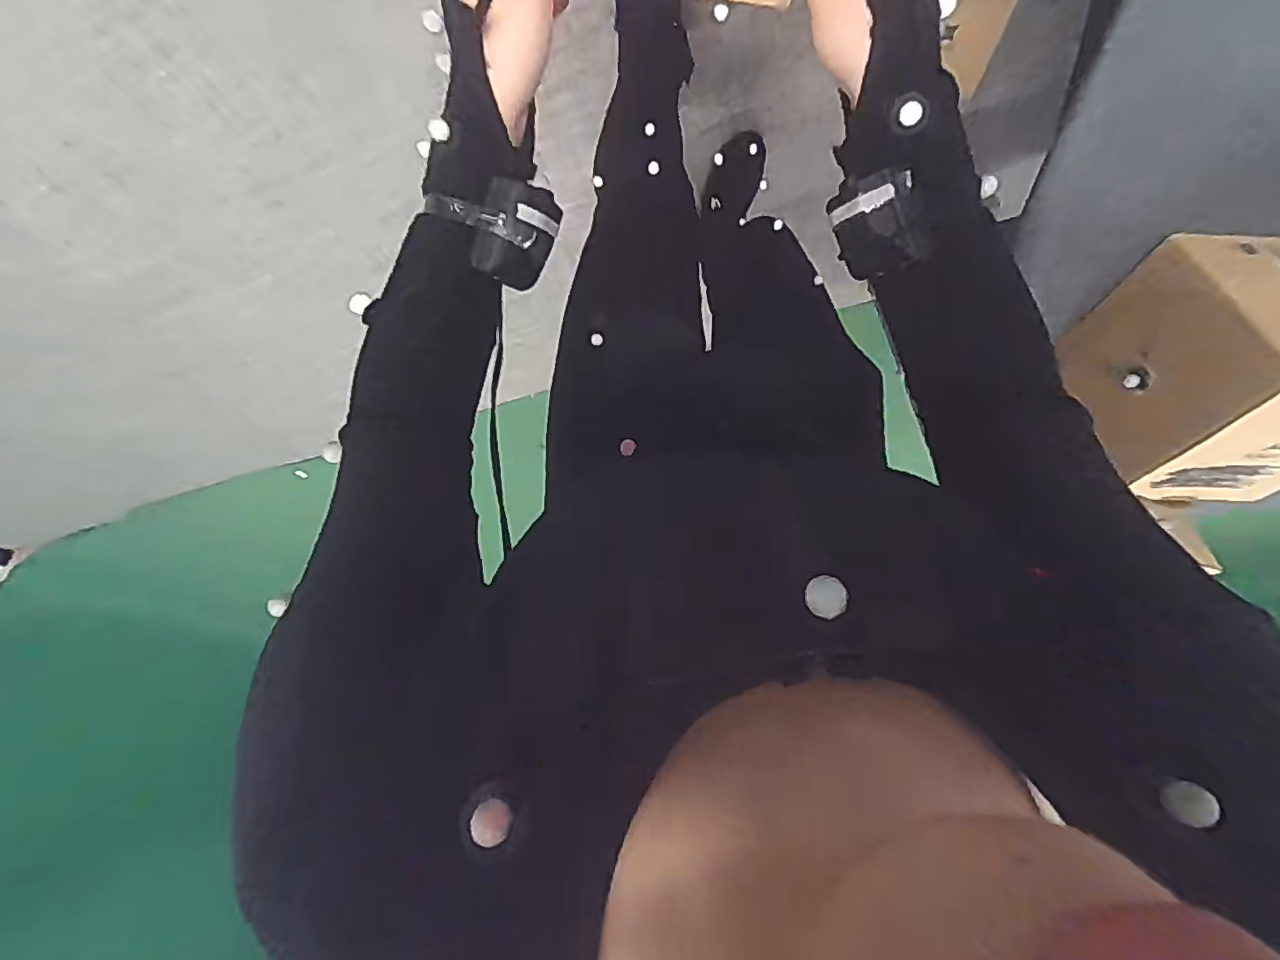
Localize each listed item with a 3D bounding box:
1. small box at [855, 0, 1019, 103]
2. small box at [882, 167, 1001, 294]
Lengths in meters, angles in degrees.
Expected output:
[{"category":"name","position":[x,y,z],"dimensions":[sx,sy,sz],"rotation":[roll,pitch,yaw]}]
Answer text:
[{"category":"small box","position":[0.455,-0.727,0.846],"dimensions":[0.168,0.176,0.179],"rotation":[-2,147,-1]},{"category":"small box","position":[0.632,-0.539,1.160],"dimensions":[0.168,0.176,0.179],"rotation":[-9,149,12]}]
